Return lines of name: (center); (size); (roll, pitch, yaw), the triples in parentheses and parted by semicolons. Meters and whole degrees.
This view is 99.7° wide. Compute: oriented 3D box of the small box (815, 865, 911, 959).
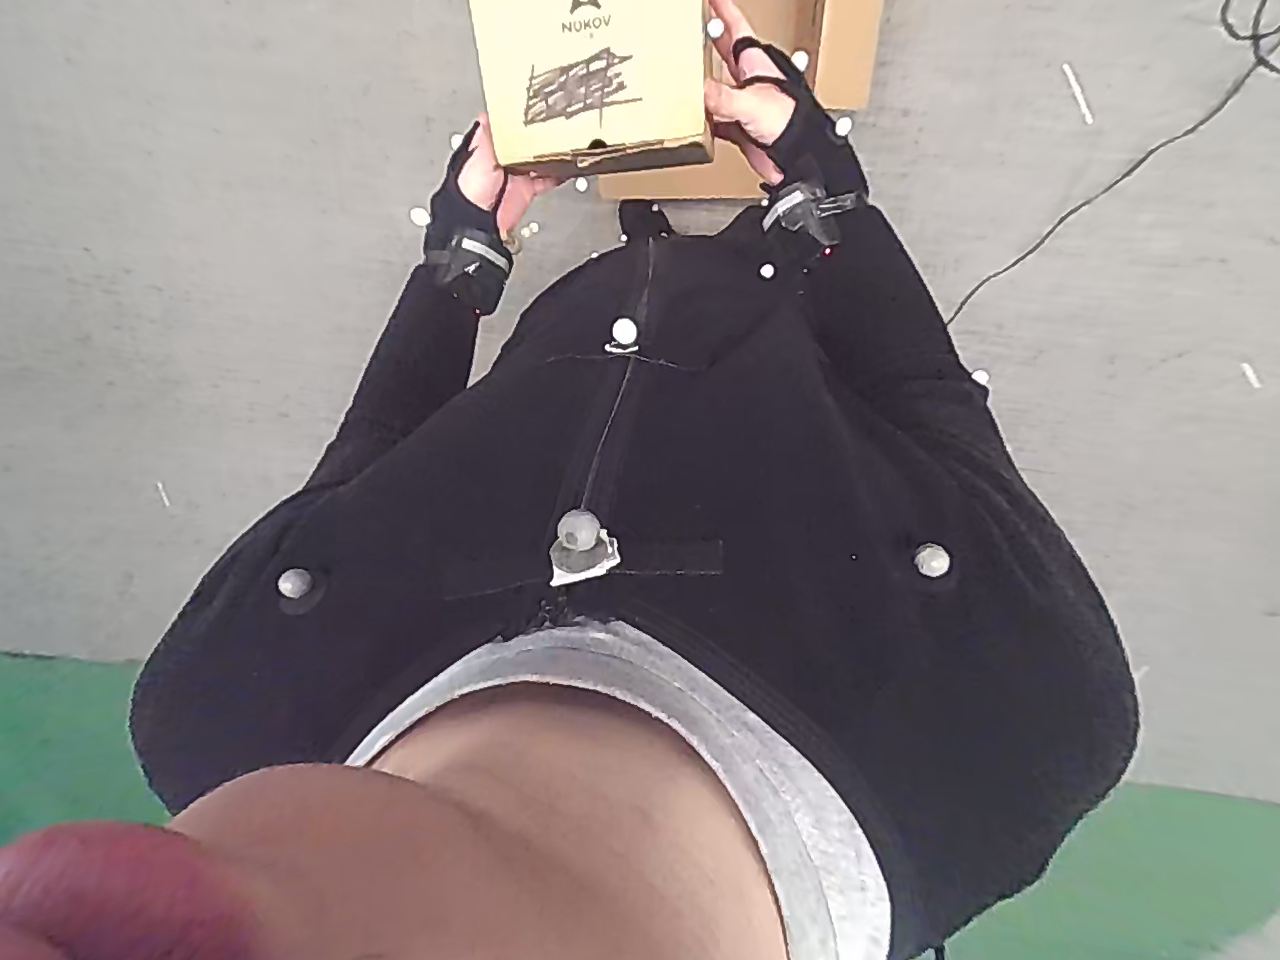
small box: (0.557, 1.122, 1.379); (0.168, 0.176, 0.179); (4, 122, 2)

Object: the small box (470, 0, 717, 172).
small box: (-0.025, -0.361, 0.442); (0.168, 0.176, 0.179); (-1, 114, 11)
